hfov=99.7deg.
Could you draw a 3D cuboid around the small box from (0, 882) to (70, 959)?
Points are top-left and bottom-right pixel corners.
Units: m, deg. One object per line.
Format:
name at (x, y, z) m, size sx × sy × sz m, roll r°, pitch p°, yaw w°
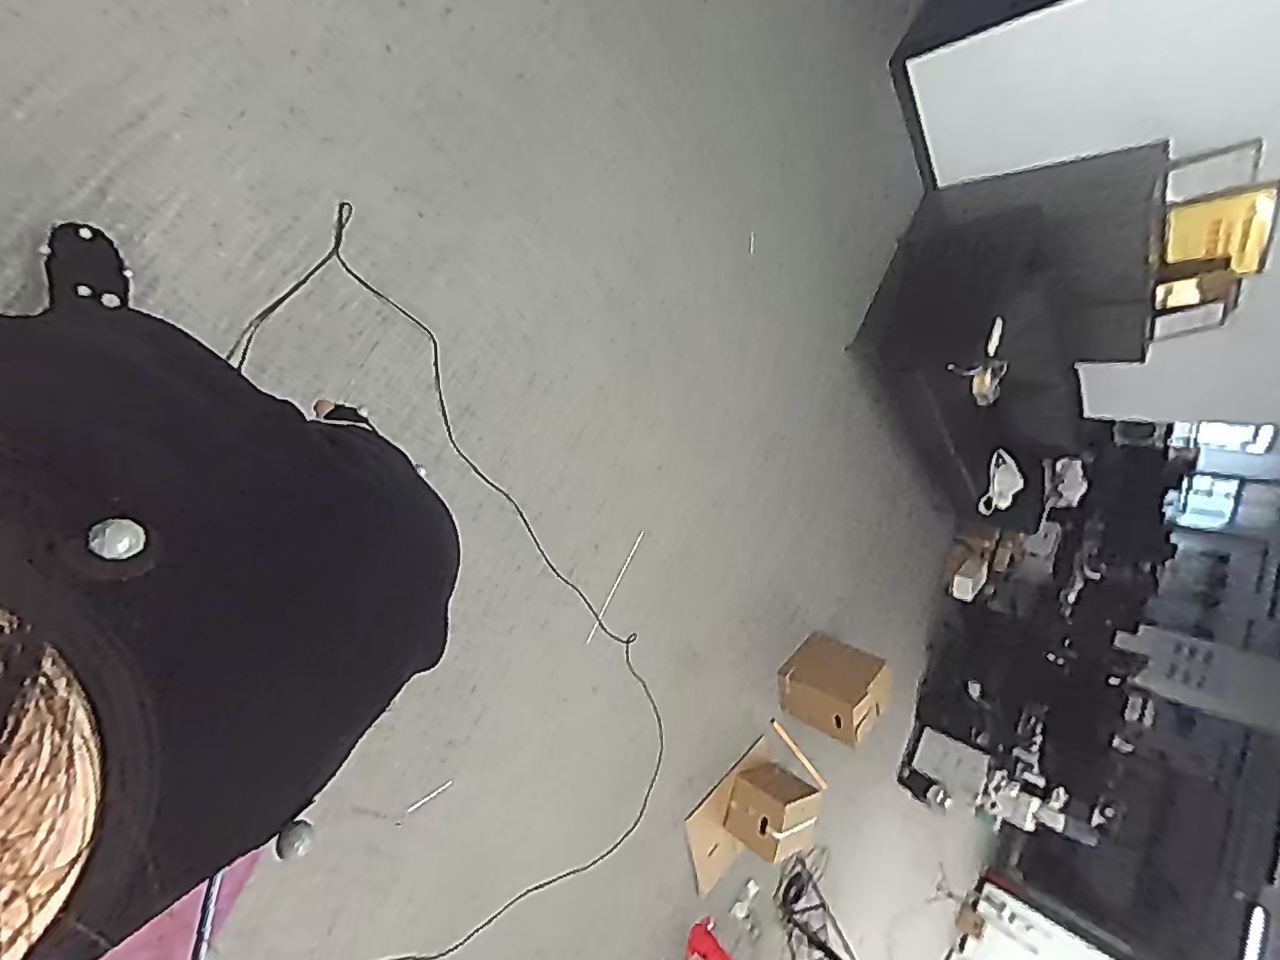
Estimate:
small box at (-0.666, 0.491, 0.474) m, size 0.179 × 0.176 × 0.168 m, roll 38°, pitch 75°, yaw -41°
